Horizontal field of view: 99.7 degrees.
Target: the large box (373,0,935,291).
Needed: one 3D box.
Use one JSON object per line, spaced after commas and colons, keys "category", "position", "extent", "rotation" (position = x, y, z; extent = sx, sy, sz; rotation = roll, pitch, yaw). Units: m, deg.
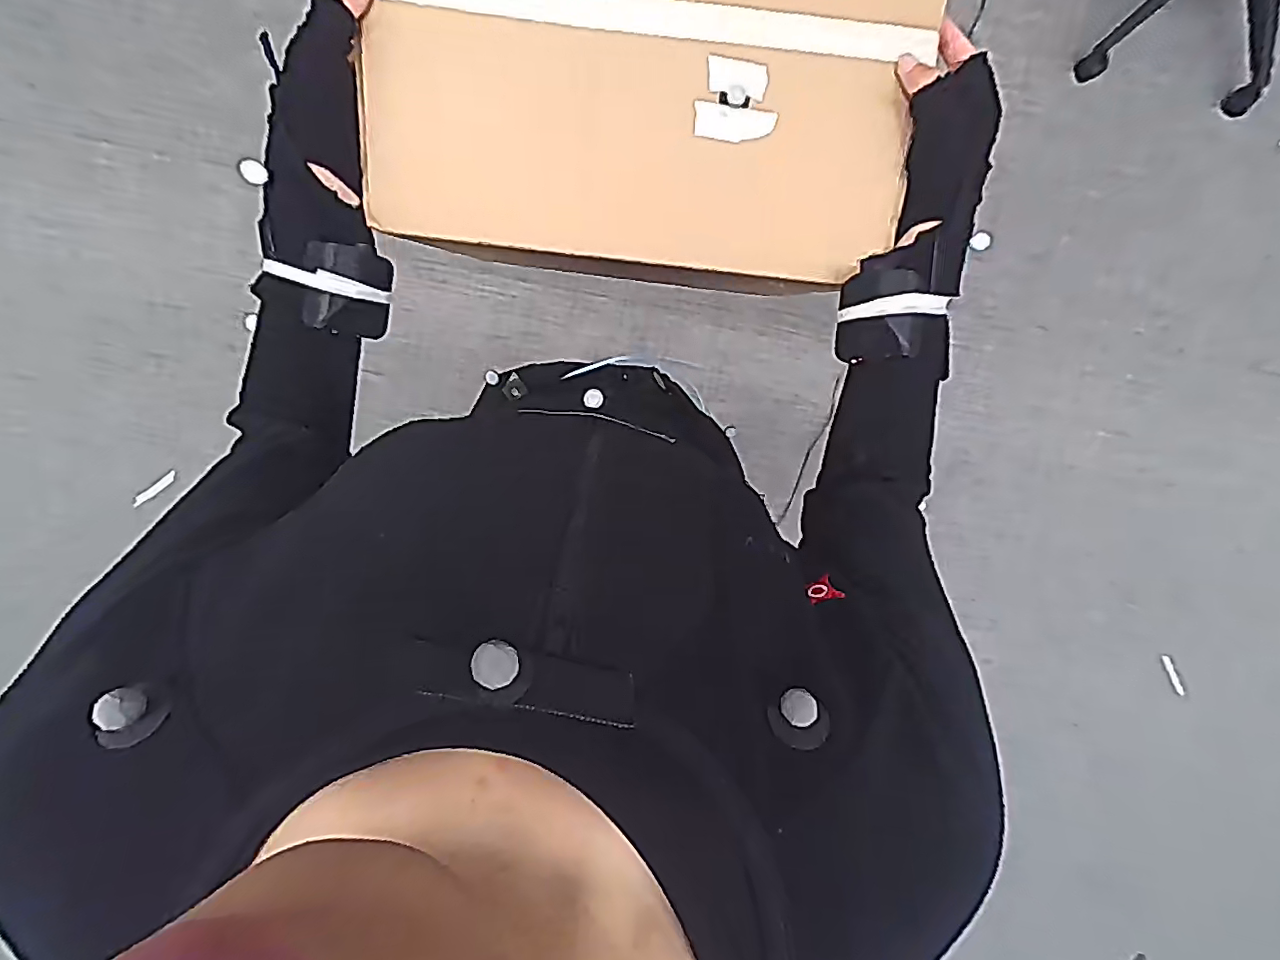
{"category": "large box", "position": [0.006, -0.369, 0.530], "extent": [0.408, 0.320, 0.320], "rotation": [6, 109, -2]}
